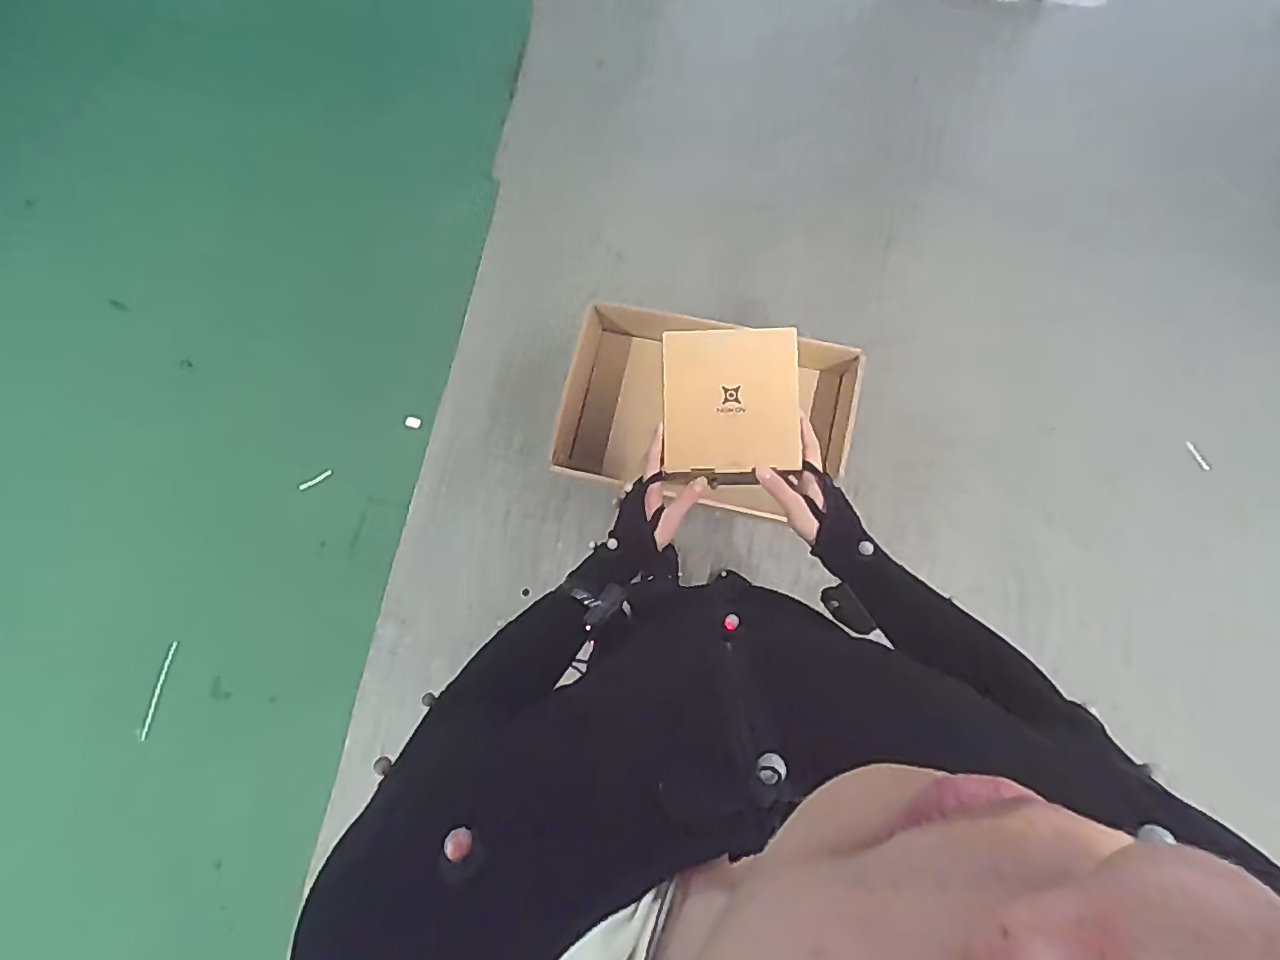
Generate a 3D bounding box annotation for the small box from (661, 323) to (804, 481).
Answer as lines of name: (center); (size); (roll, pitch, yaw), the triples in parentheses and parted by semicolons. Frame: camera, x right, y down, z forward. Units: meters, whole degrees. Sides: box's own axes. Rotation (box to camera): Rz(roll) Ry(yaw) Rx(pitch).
small box: (0.113, -0.094, 0.724); (0.168, 0.176, 0.179); (-1, 85, 2)
